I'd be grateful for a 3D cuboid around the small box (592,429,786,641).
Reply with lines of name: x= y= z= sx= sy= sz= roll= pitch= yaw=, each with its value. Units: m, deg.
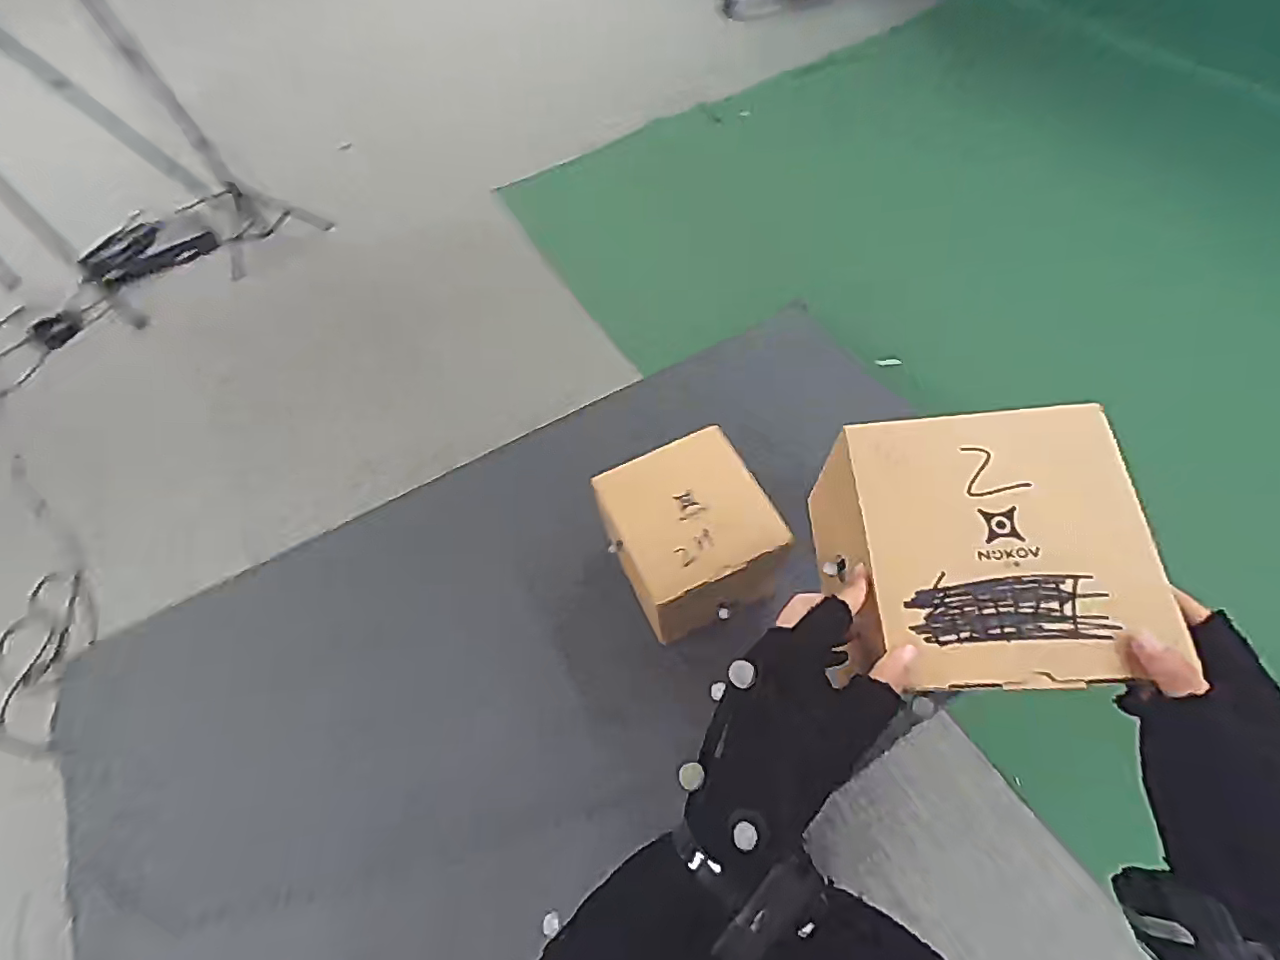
small box: x=0.054 y=0.074 z=0.676 sx=0.168 sy=0.176 sz=0.179 roll=-24 pitch=61 yaw=-9
